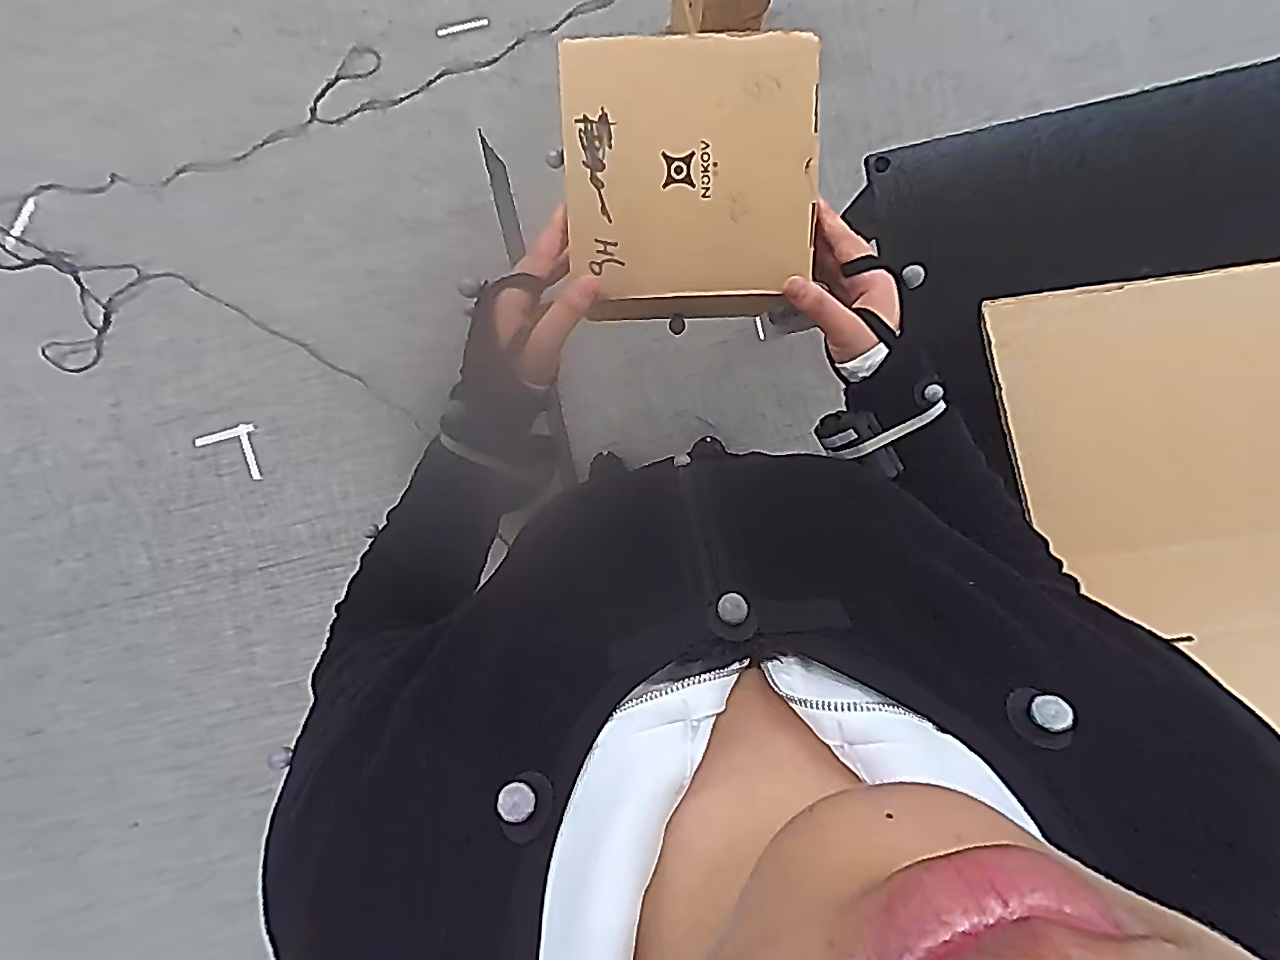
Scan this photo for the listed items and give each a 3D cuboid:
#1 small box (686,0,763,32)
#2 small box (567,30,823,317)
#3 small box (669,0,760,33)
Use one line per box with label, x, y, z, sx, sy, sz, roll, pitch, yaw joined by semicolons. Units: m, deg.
small box;0.184;-1.139;1.182;0.179;0.176;0.168;-19;94;1
small box;0.035;-0.233;0.454;0.179;0.176;0.168;-2;100;-2
small box;0.179;-1.147;1.344;0.179;0.176;0.168;-17;93;2
